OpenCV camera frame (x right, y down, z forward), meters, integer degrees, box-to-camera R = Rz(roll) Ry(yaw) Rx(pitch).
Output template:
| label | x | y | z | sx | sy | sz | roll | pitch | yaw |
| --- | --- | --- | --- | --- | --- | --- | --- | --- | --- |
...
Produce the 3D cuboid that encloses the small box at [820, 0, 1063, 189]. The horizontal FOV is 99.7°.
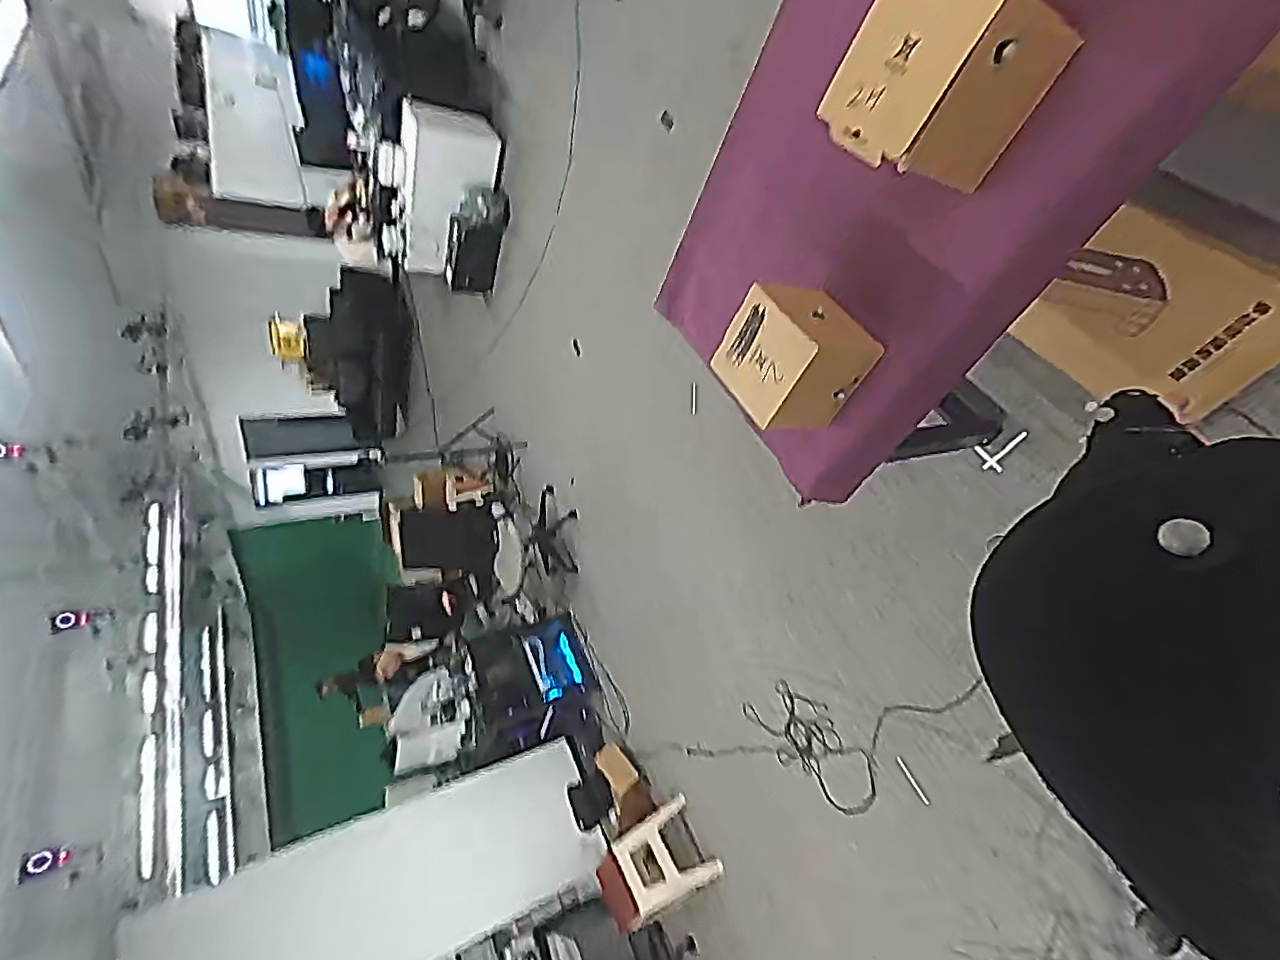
| label | x | y | z | sx | sy | sz | roll | pitch | yaw |
| --- | --- | --- | --- | --- | --- | --- | --- | --- | --- |
| small box | 0.370 | -0.493 | 0.667 | 0.168 | 0.176 | 0.179 | 61 | 142 | 33 |
